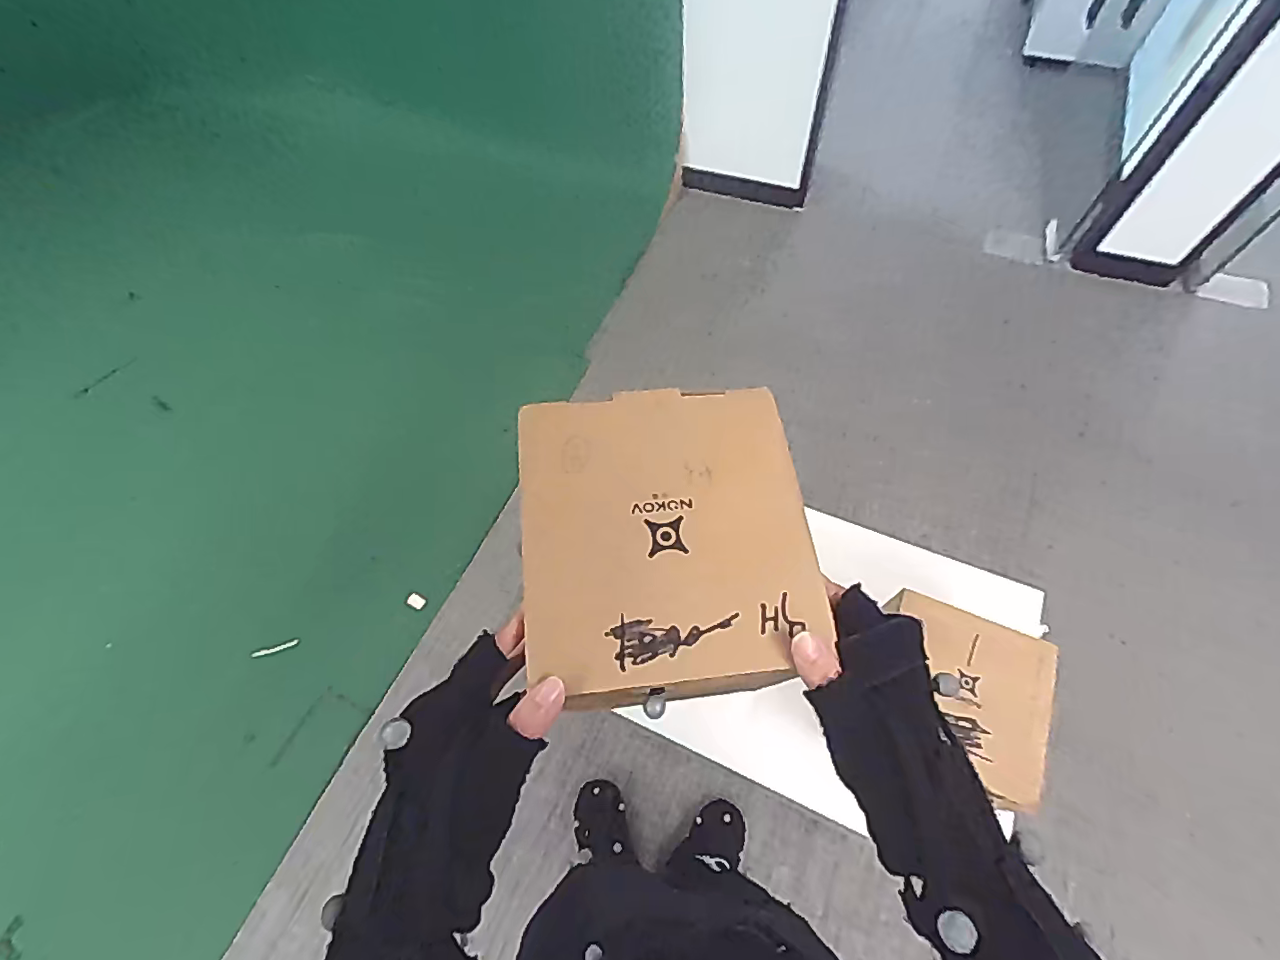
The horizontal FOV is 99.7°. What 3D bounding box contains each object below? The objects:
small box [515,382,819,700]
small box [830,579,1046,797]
[{"bbox_3d":[0.004,0.052,0.394,0.168,0.176,0.179,-6,64,-5],"label":"small box"},{"bbox_3d":[0.344,0.251,0.653,0.168,0.176,0.179,21,65,15],"label":"small box"}]
